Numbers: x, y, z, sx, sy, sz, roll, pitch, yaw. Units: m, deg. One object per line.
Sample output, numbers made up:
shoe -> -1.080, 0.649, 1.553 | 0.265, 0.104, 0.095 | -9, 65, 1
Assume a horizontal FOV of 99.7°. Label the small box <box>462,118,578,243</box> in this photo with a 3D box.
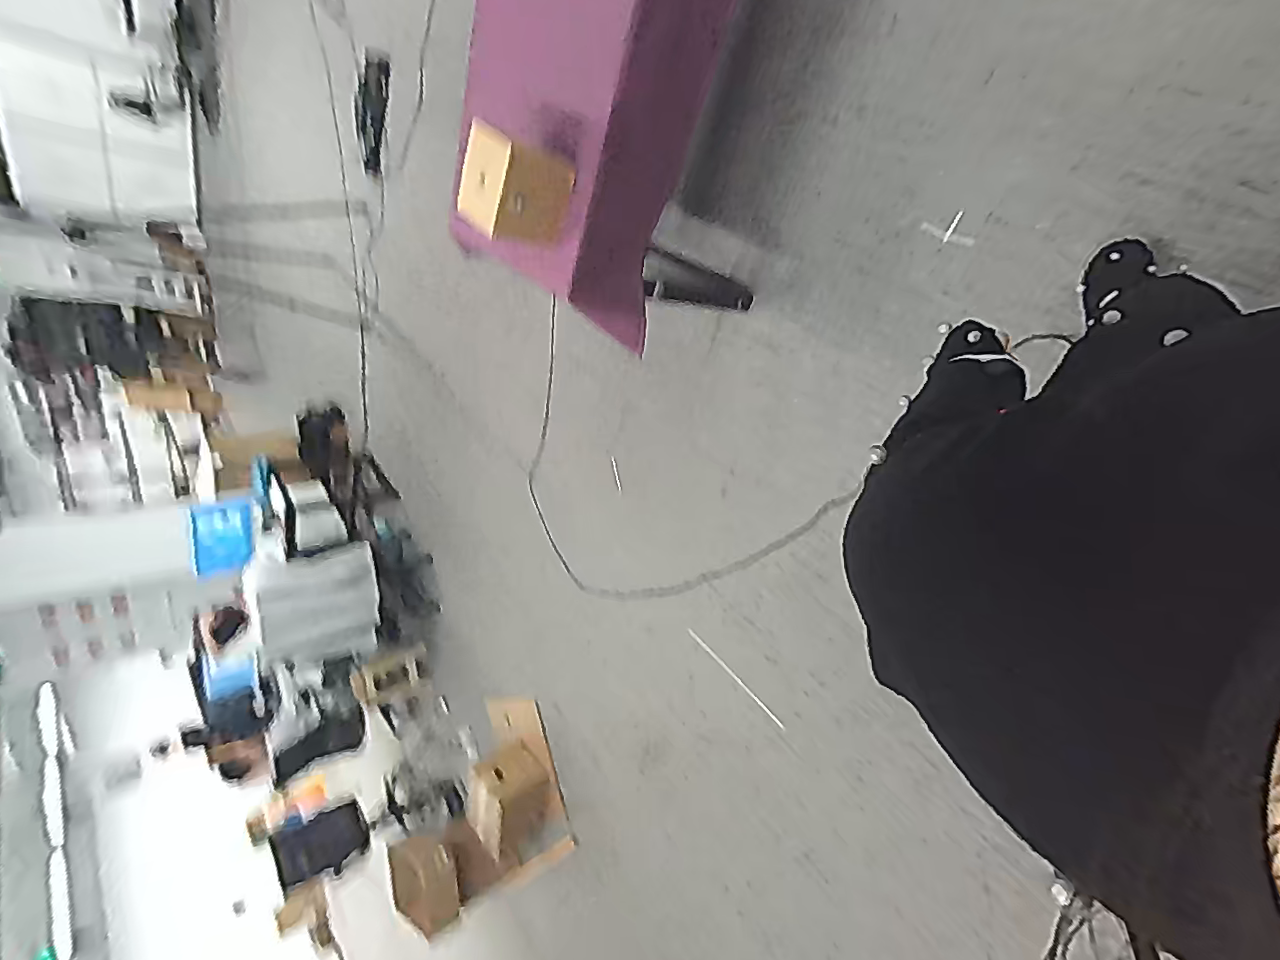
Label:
small box -> -0.259, -0.639, 1.171 | 0.168, 0.176, 0.179 | 47, 127, 29
